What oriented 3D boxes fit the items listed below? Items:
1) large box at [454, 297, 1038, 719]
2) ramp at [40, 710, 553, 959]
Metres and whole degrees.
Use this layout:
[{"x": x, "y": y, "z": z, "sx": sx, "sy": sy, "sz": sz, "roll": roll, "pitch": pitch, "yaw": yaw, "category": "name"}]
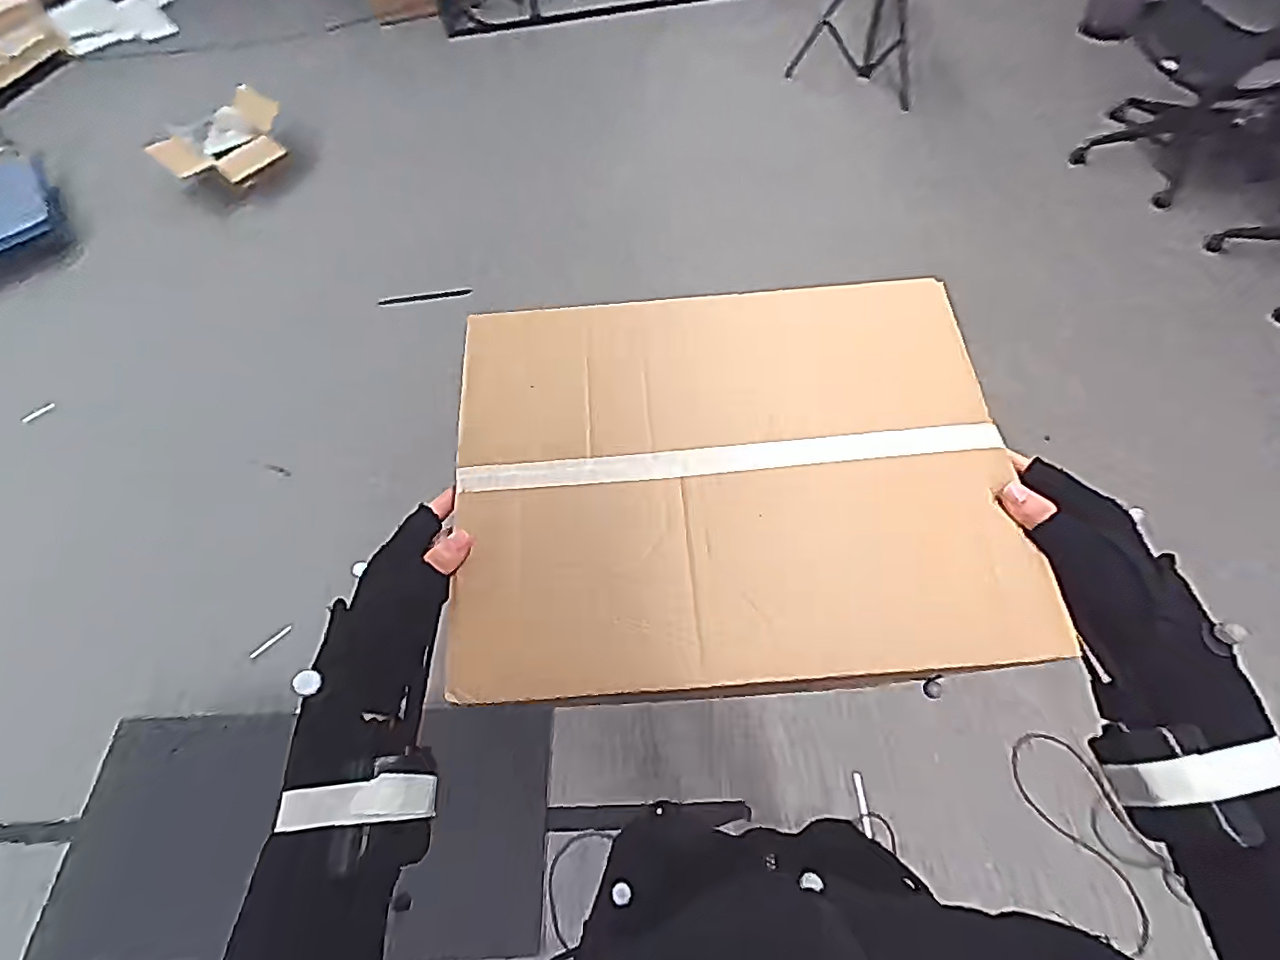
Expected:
[{"x": 0.066, "y": 0.056, "z": 0.555, "sx": 0.408, "sy": 0.320, "sz": 0.320, "roll": -6, "pitch": 66, "yaw": 1, "category": "large box"}, {"x": -0.707, "y": 0.789, "z": 1.224, "sx": 0.991, "sy": 0.206, "sz": 0.509, "roll": -6, "pitch": 58, "yaw": 3, "category": "ramp"}]
